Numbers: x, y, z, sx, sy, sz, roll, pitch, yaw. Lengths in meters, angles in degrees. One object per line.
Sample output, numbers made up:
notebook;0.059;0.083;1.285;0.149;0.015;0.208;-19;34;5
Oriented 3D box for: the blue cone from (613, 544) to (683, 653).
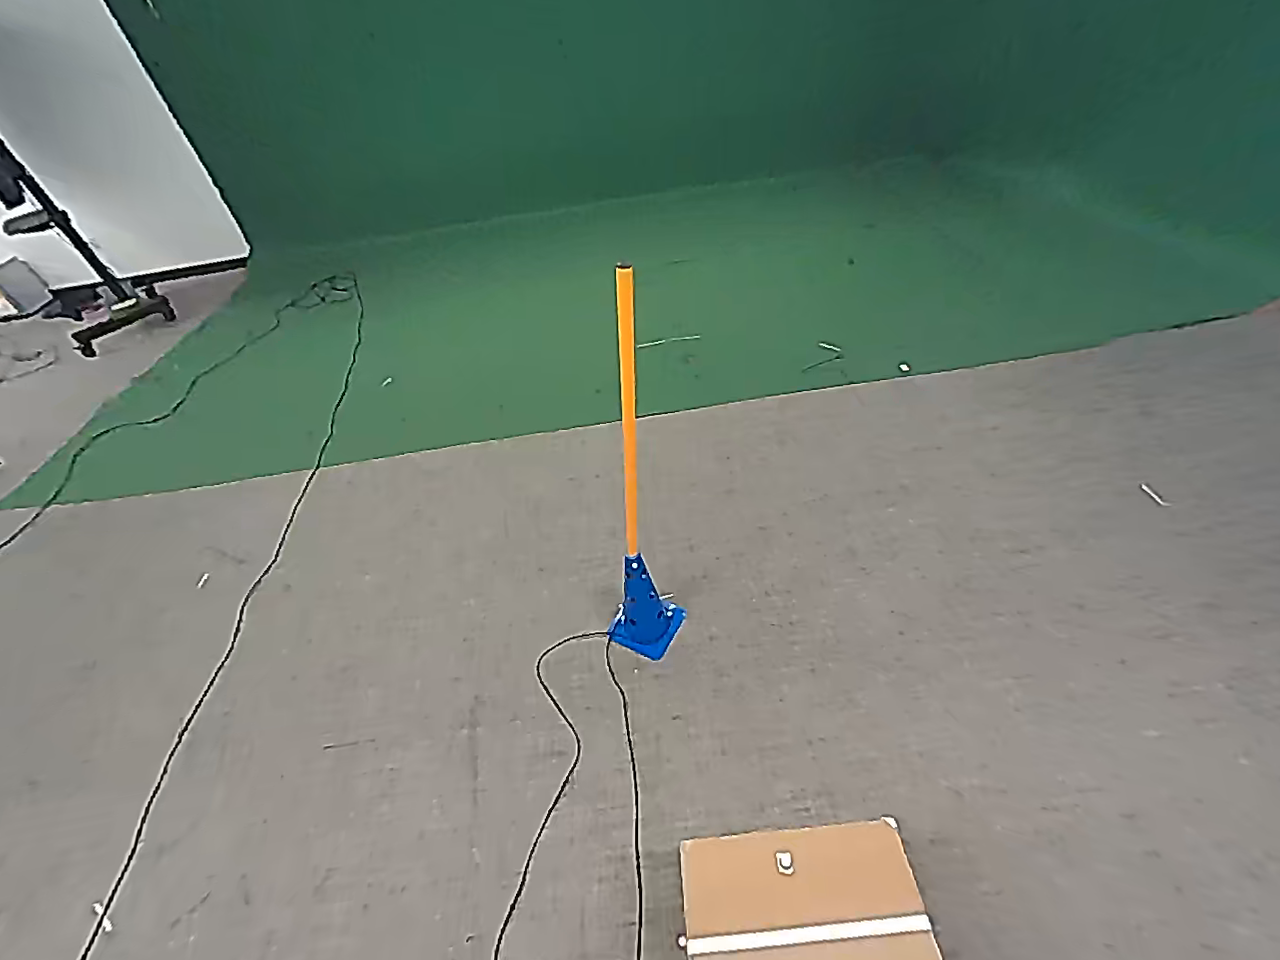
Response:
blue cone;0.006;0.320;1.589;0.192;0.380;0.193;15;47;24
